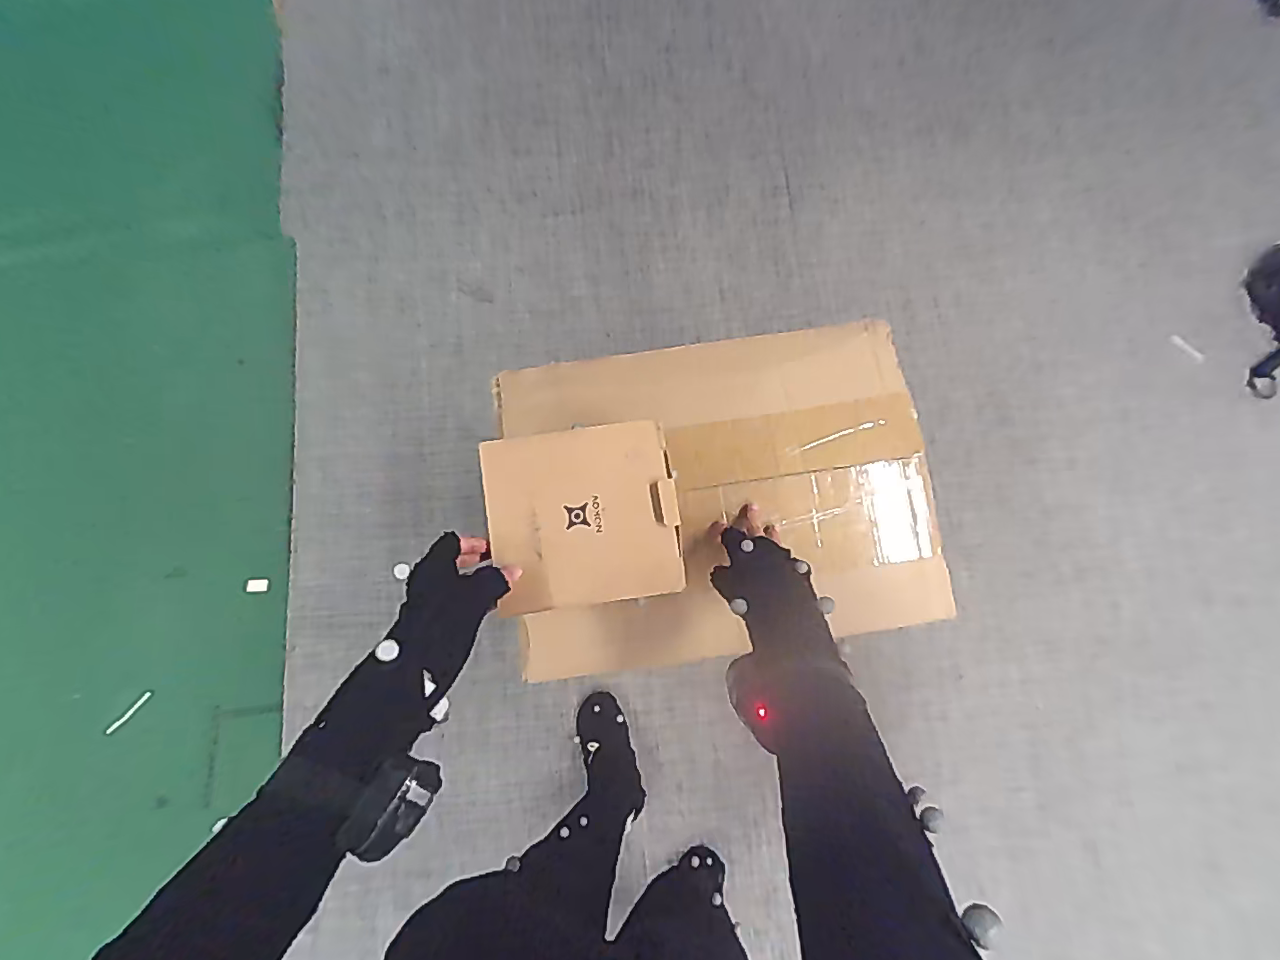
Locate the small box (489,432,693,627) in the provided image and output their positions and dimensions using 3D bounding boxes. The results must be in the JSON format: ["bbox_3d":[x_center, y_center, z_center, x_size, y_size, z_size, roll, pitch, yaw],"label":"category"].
[{"bbox_3d":[-0.049,0.055,0.587,0.179,0.176,0.168,-9,81,-1],"label":"small box"}]
